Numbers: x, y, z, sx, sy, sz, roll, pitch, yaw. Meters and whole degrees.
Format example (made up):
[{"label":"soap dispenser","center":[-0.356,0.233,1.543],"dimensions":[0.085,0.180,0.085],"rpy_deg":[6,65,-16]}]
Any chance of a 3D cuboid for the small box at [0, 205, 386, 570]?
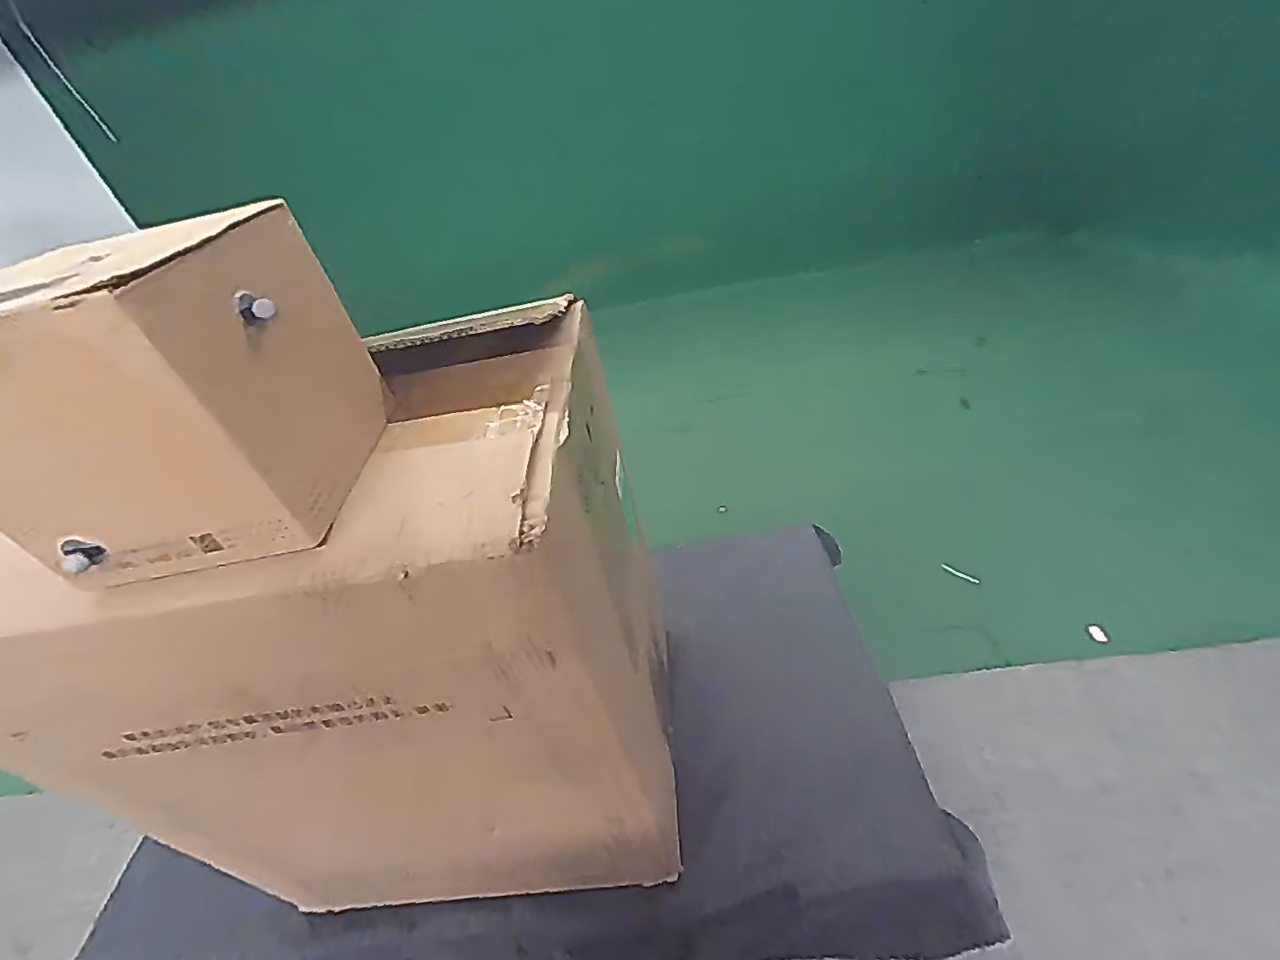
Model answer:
[{"label":"small box","center":[-0.301,-0.057,0.361],"dimensions":[0.168,0.176,0.179],"rpy_deg":[-10,39,4]}]
